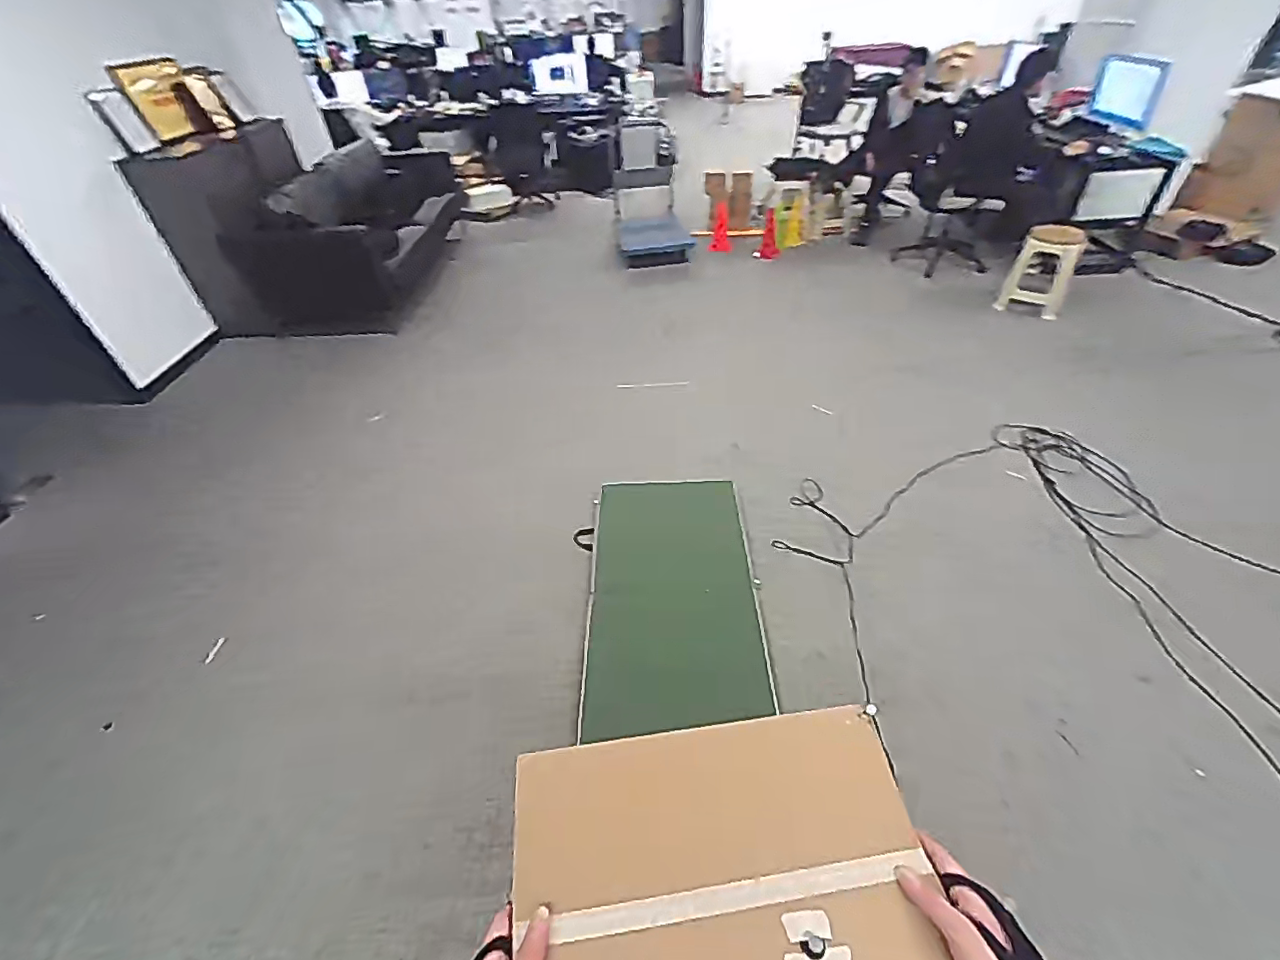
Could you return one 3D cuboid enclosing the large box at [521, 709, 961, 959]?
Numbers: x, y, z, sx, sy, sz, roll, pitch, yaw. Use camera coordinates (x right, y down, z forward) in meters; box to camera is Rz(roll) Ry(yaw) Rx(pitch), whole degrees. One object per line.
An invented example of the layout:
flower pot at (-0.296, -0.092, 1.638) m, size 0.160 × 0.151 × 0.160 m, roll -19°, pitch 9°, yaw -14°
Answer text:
large box at (0.085, 0.508, 0.628) m, size 0.408 × 0.320 × 0.320 m, roll -6°, pitch 46°, yaw -5°
